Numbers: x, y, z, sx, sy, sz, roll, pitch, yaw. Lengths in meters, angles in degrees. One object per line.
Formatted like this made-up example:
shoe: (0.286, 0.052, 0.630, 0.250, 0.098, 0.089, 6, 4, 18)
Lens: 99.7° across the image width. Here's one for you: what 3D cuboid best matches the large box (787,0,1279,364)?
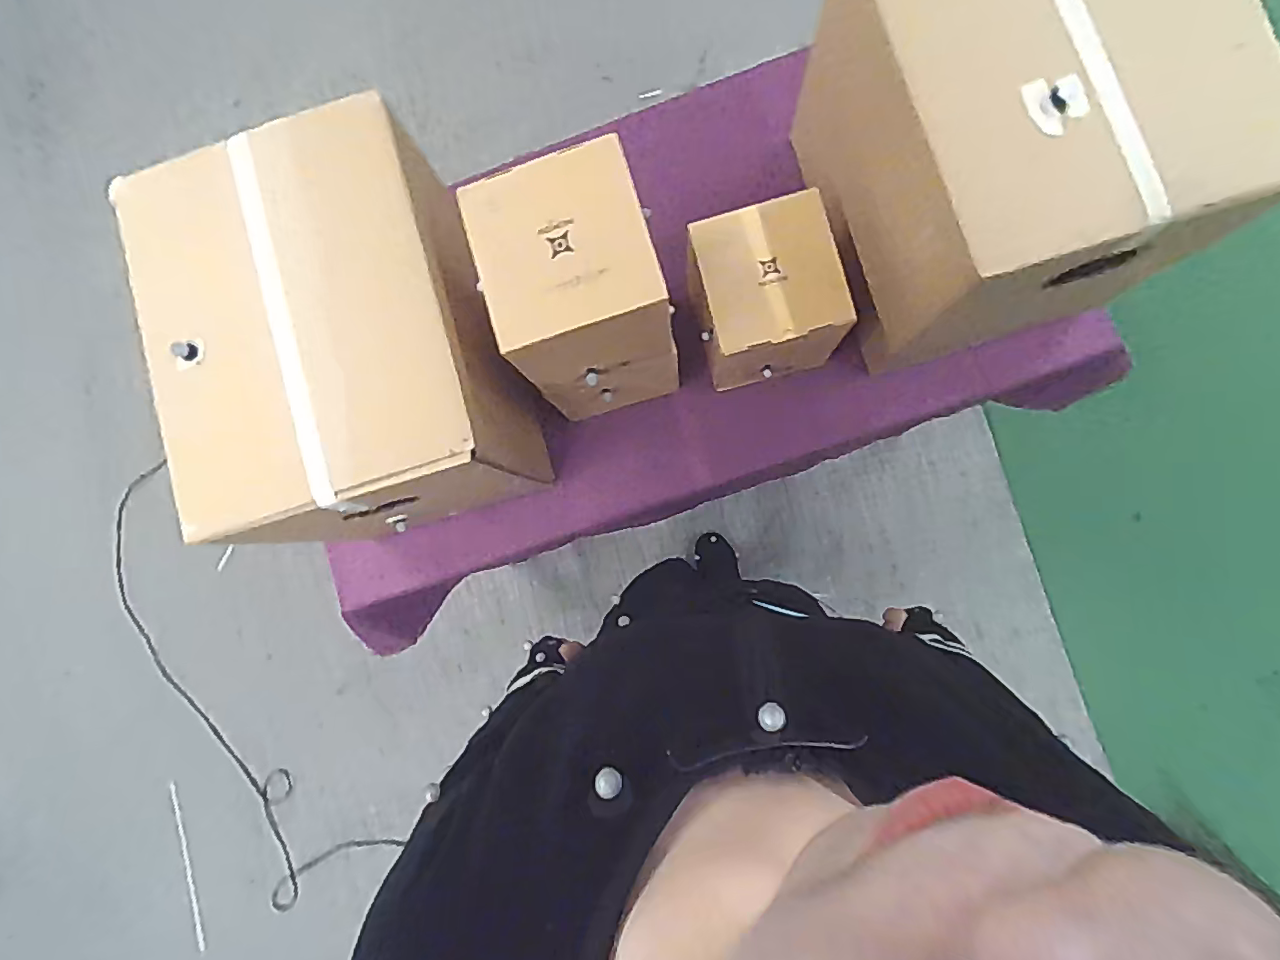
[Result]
large box: (0.415, -0.410, 0.663, 0.320, 0.320, 0.408, -16, 85, 3)
